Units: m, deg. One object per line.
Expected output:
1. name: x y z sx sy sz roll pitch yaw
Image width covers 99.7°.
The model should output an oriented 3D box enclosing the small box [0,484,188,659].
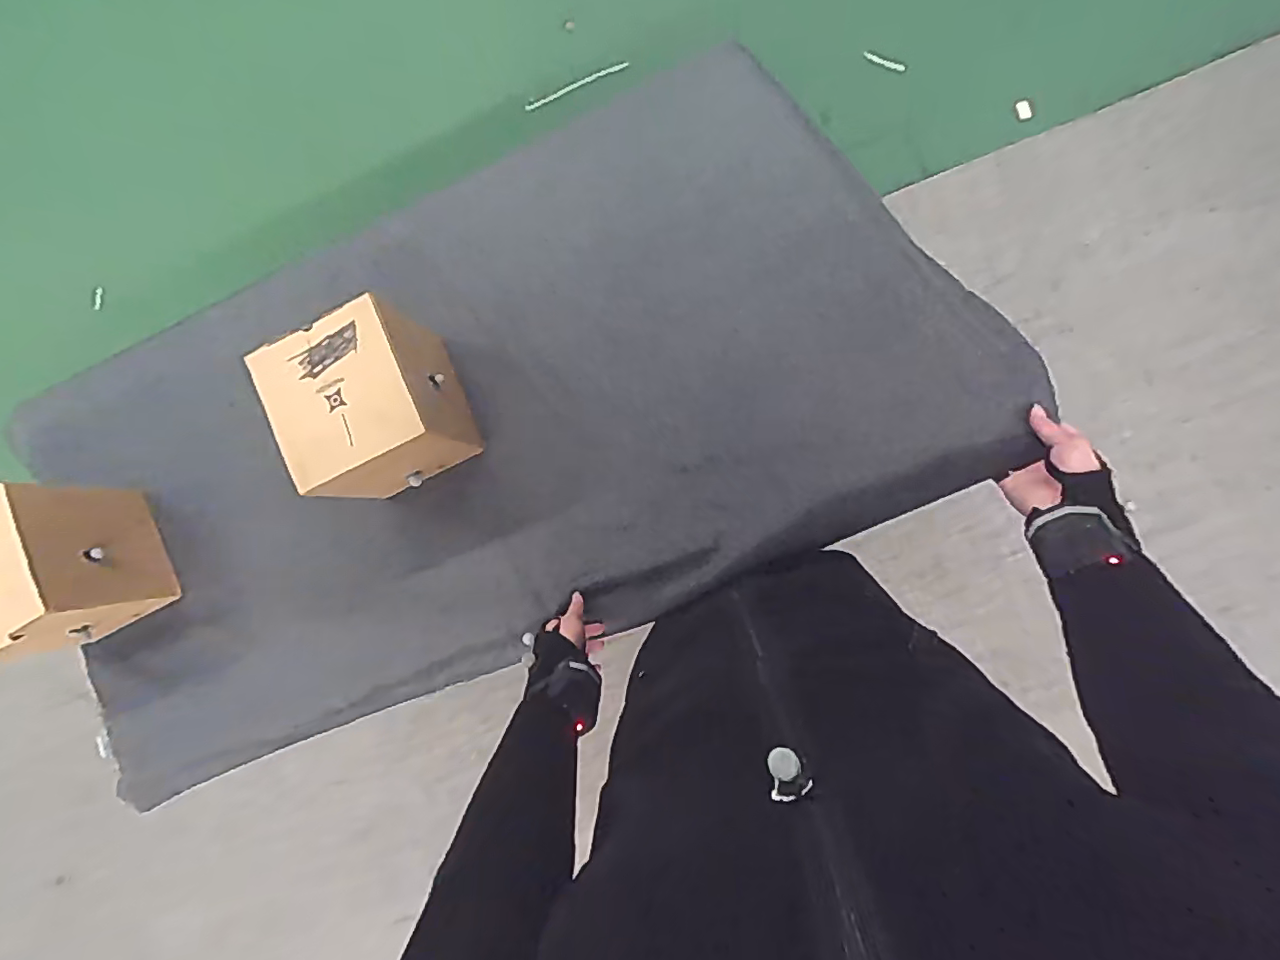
1. small box: -0.771 0.117 0.729 0.168 0.176 0.179 -27 84 5

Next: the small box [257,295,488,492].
1. small box: -0.321 -0.093 0.679 0.168 0.176 0.179 -25 85 6
